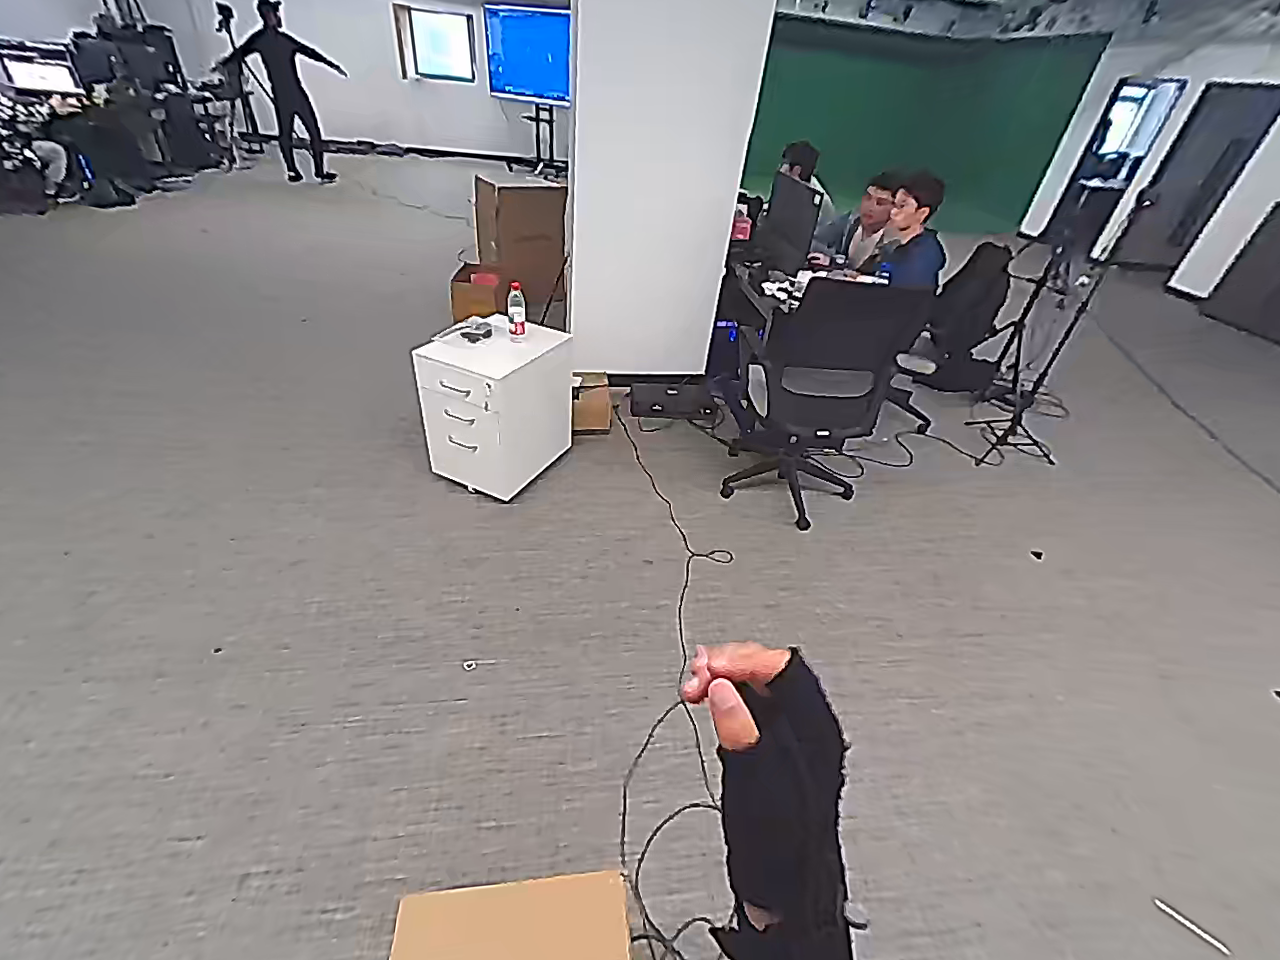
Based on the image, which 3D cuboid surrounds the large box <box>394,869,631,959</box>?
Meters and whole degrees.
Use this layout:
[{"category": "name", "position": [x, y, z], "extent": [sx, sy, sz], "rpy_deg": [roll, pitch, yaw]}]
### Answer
[{"category": "large box", "position": [-0.222, 0.962, 0.971], "extent": [0.408, 0.320, 0.320], "rpy_deg": [-1, 37, -9]}]
